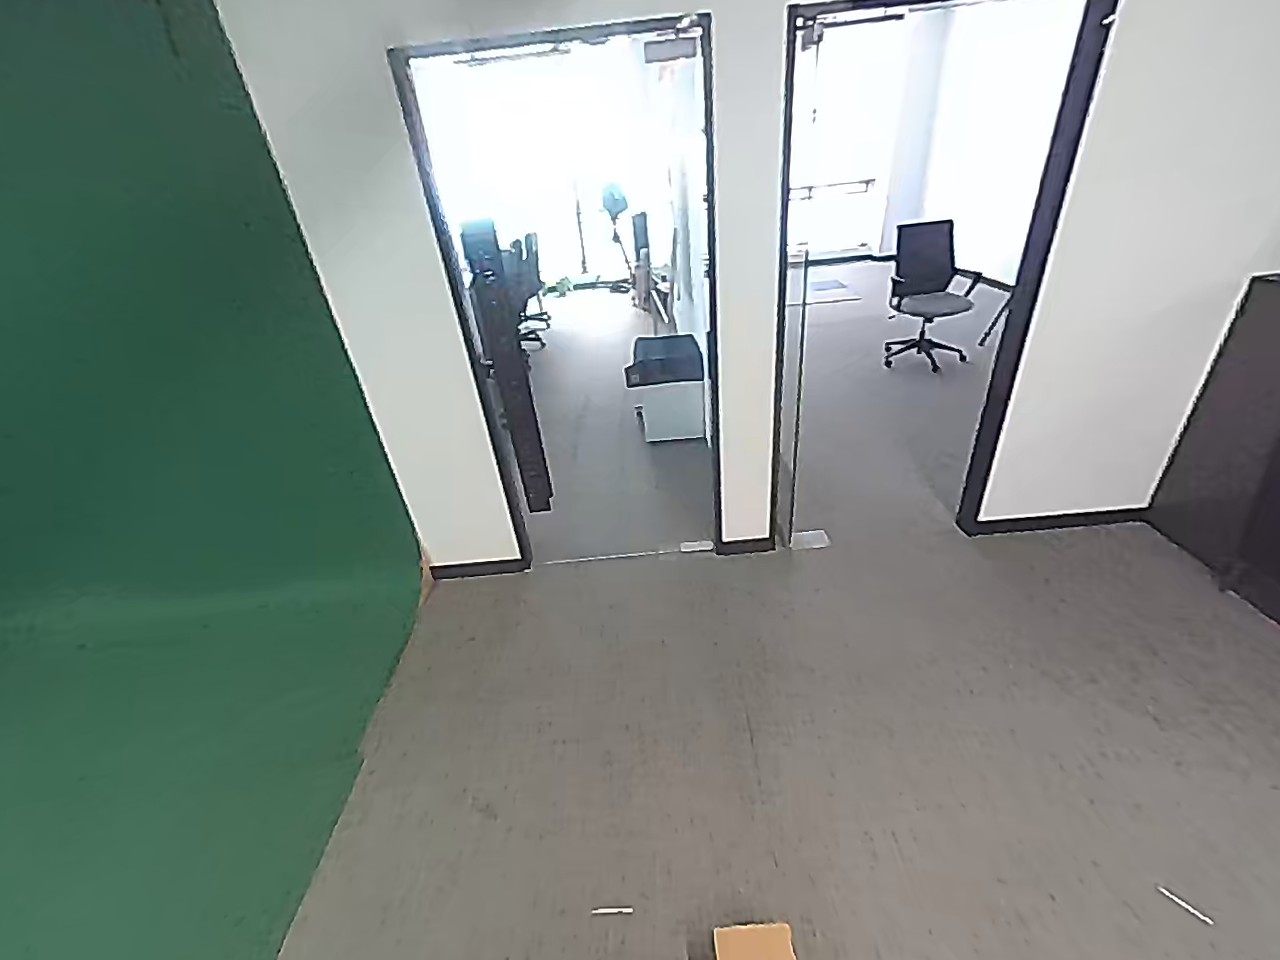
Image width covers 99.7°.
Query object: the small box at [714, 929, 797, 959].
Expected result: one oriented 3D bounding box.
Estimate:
[{"bbox_3d":[0.263,1.130,1.193,0.179,0.176,0.168,-4,30,2],"label":"small box"}]
